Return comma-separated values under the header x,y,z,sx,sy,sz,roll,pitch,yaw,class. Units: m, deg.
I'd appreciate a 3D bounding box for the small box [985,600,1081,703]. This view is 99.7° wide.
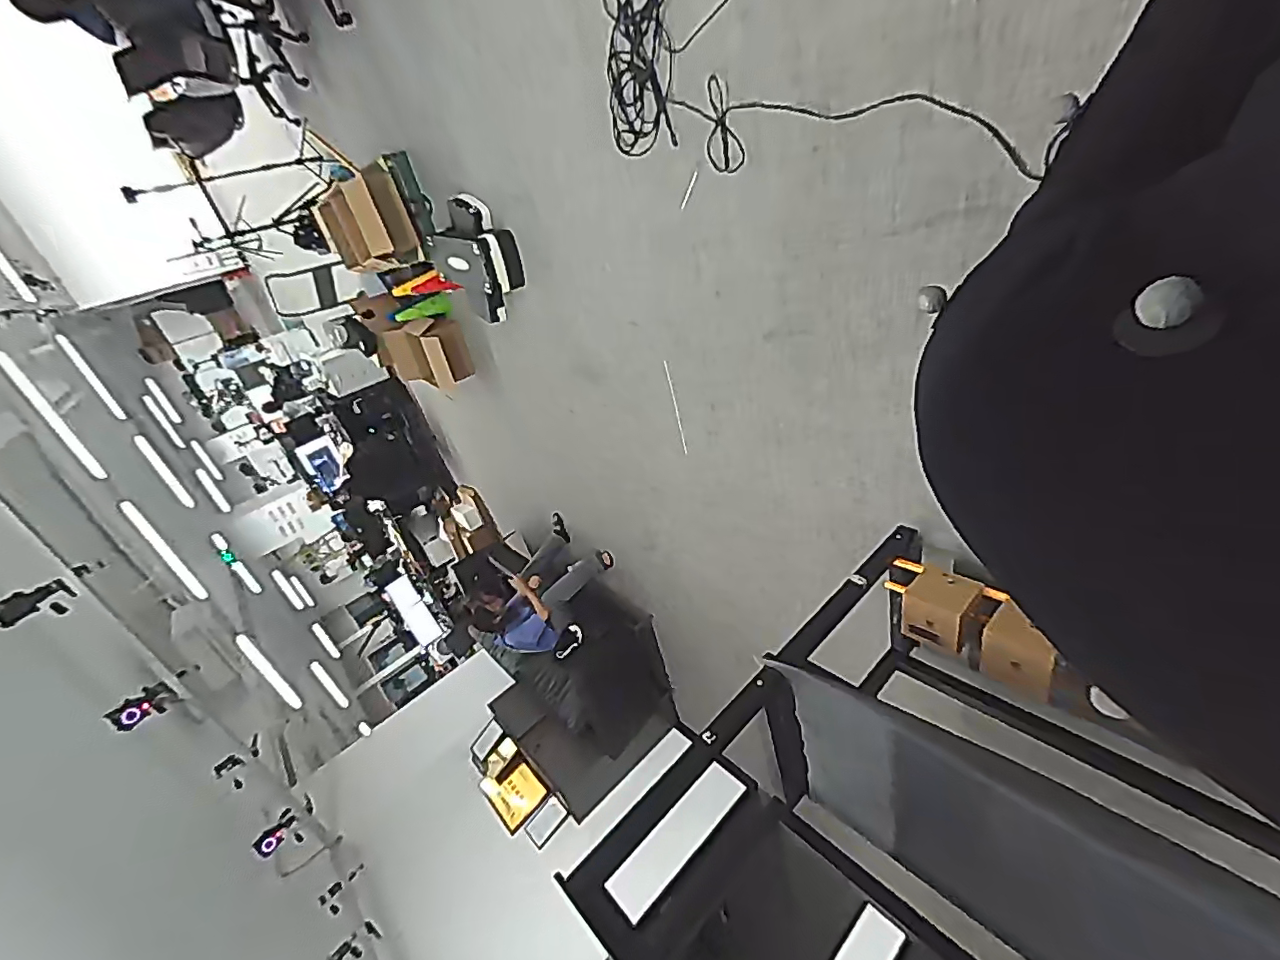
x,y,z,sx,sy,sz,roll,pitch,yaw,class
1.087,0.465,1.495,0.168,0.176,0.179,20,134,48,small box
